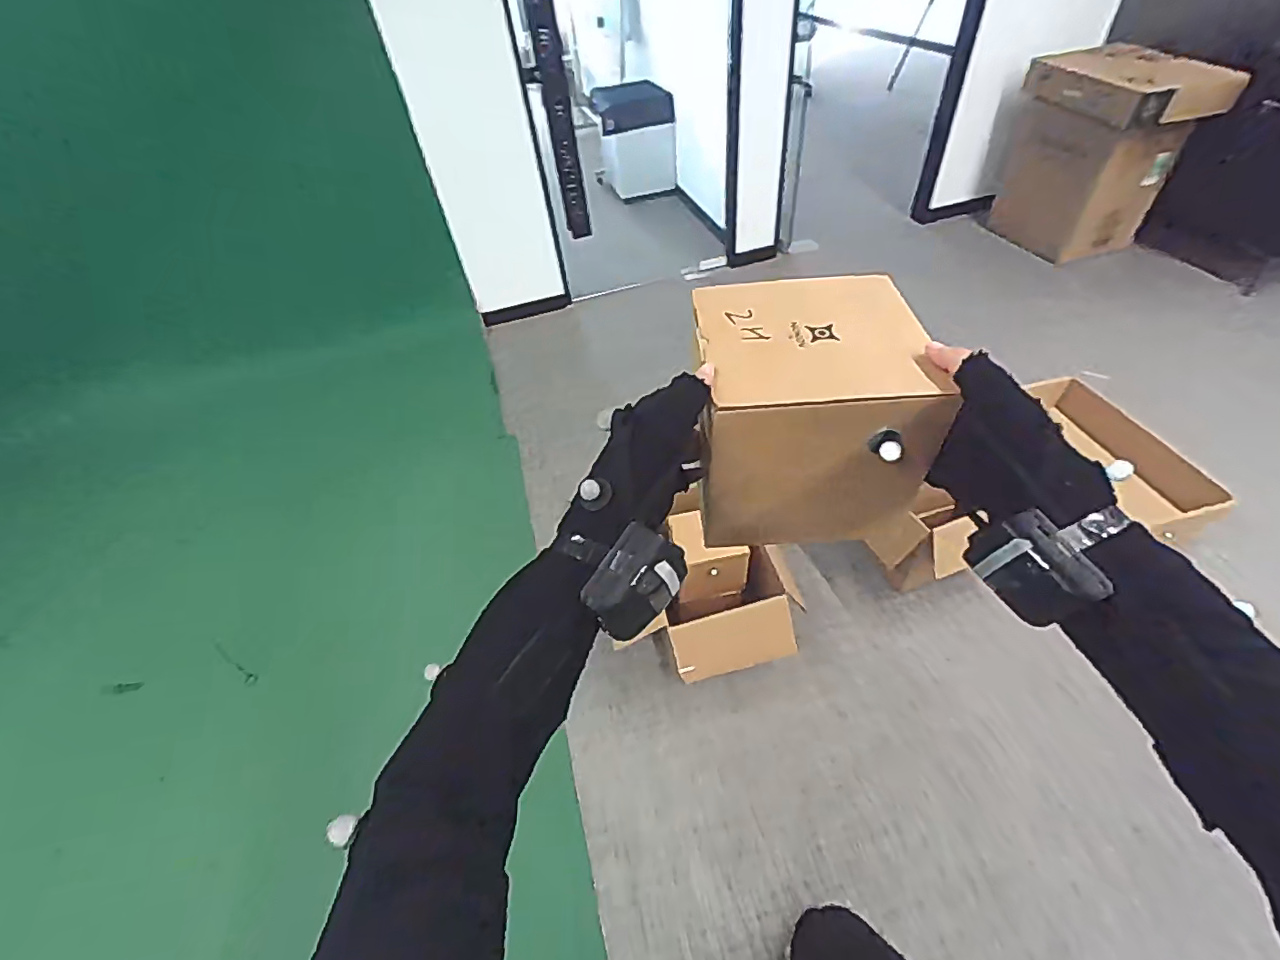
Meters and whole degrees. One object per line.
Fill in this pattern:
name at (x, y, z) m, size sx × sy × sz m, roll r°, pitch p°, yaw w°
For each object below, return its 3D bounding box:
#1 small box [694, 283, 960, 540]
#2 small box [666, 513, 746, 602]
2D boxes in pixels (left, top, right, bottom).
small box at (0.145, -0.059, 0.496) m, size 0.179 × 0.176 × 0.168 m, roll -3°, pitch 47°, yaw 1°
small box at (0.172, 0.205, 1.453) m, size 0.179 × 0.176 × 0.168 m, roll -11°, pitch 46°, yaw -4°
